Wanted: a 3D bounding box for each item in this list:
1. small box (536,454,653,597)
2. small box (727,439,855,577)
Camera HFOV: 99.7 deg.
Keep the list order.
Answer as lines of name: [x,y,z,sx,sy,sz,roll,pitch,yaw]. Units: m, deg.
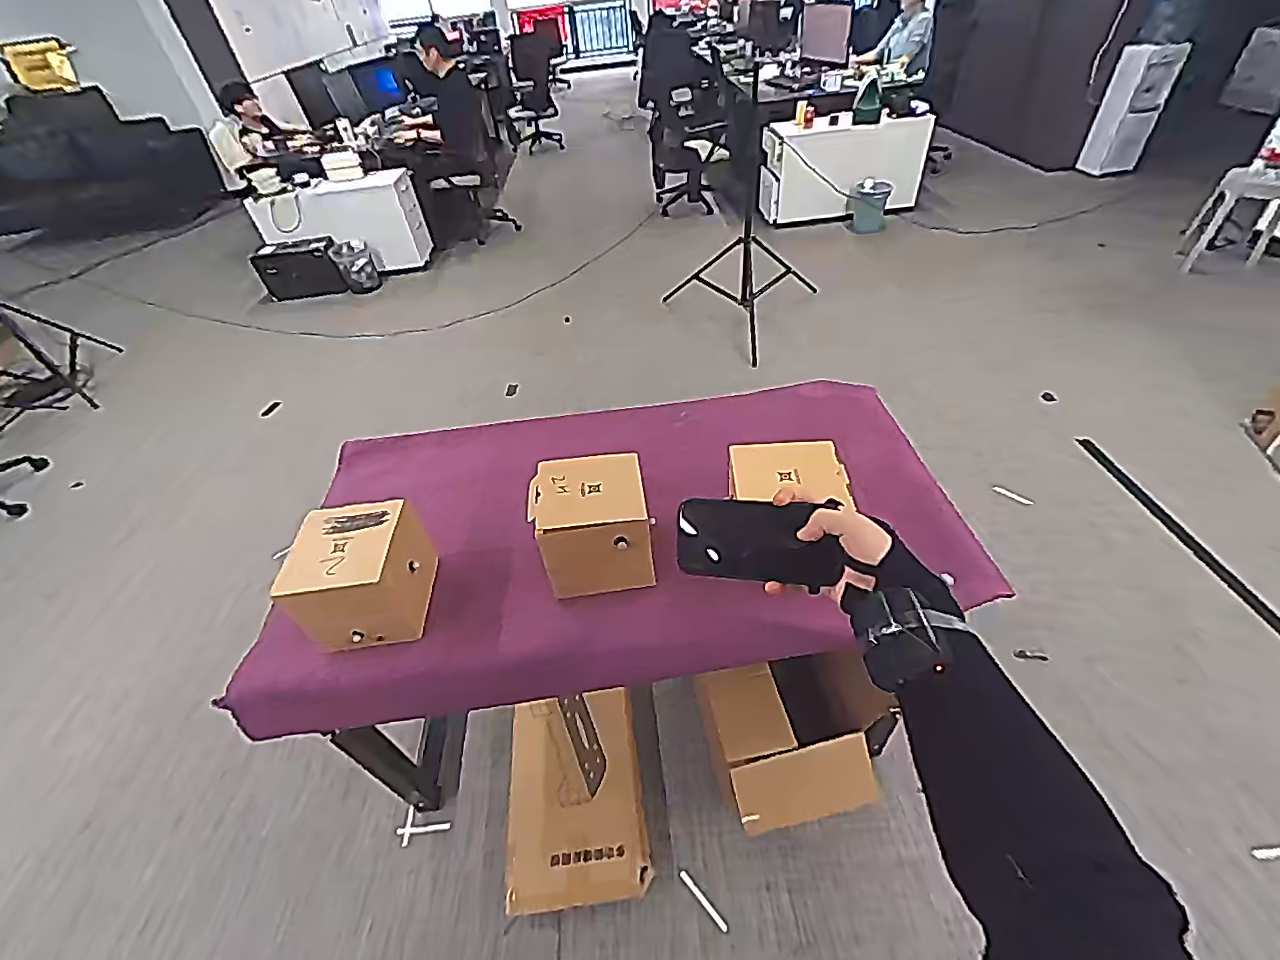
small box: [-0.073,0.079,0.931,0.179,0.176,0.168,-8,41,-1]
small box: [0.244,0.051,0.918,0.179,0.176,0.168,-3,43,4]
